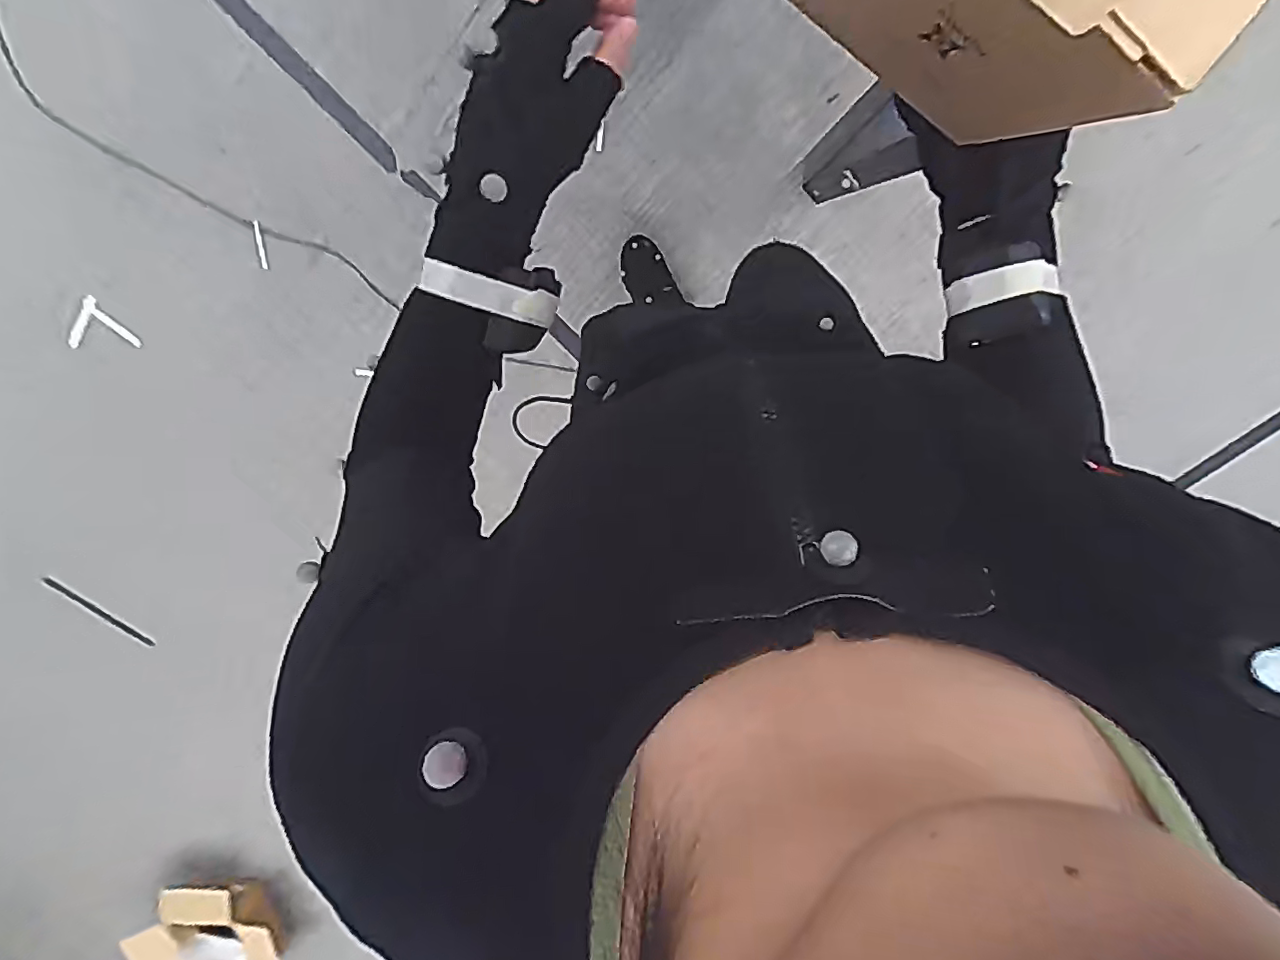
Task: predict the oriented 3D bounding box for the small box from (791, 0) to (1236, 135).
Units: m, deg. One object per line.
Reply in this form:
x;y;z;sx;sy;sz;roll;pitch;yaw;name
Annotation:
0.204;-0.313;0.268;0.168;0.179;0.176;27;112;-17;small box
